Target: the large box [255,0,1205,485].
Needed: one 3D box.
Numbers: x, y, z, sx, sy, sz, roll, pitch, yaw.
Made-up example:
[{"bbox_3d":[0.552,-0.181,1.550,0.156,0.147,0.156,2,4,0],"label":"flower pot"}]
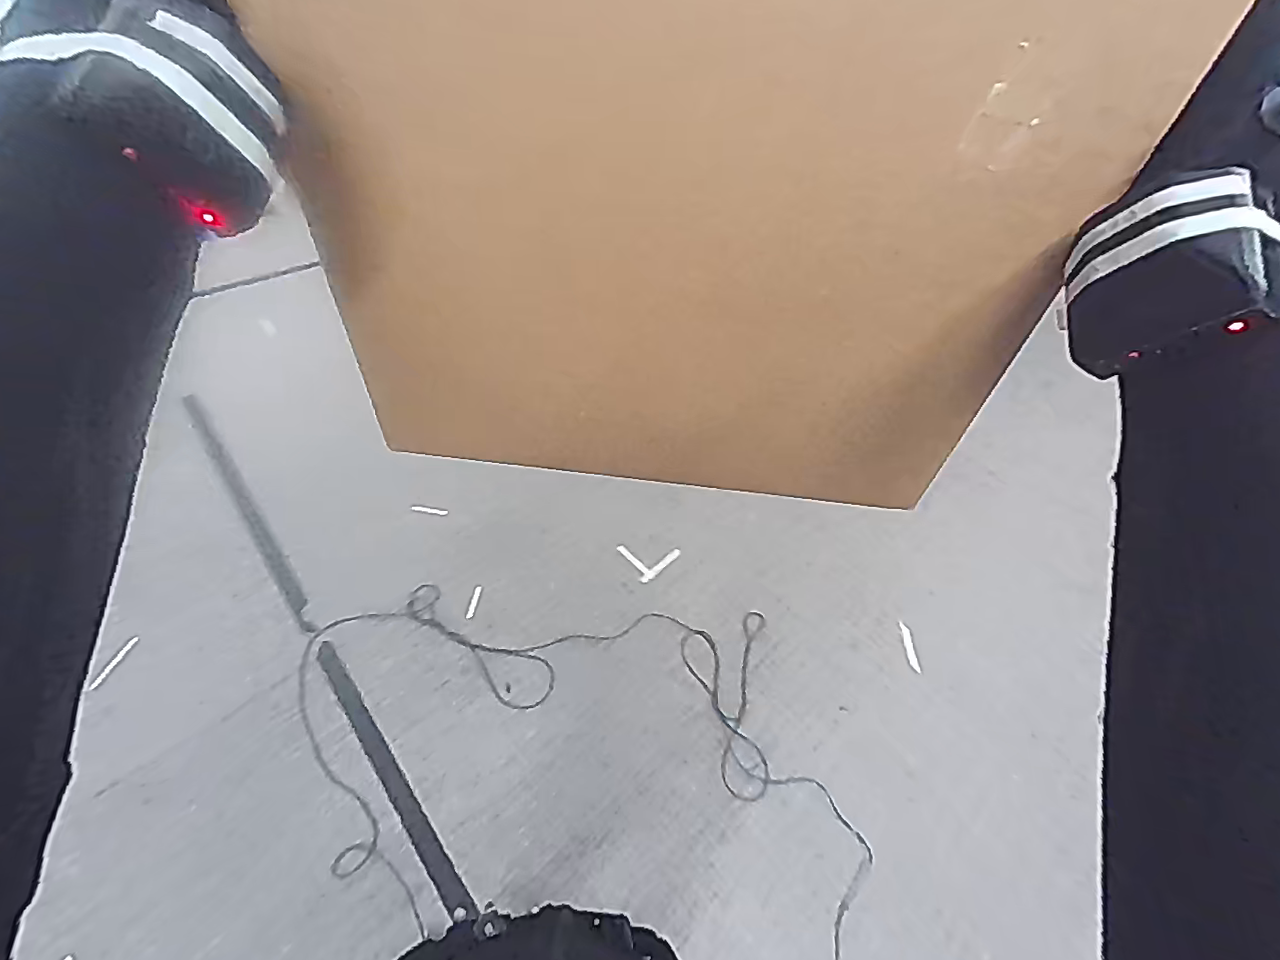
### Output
[{"bbox_3d":[0.026,-0.221,0.411,0.408,0.320,0.320,6,46,-1],"label":"large box"}]
